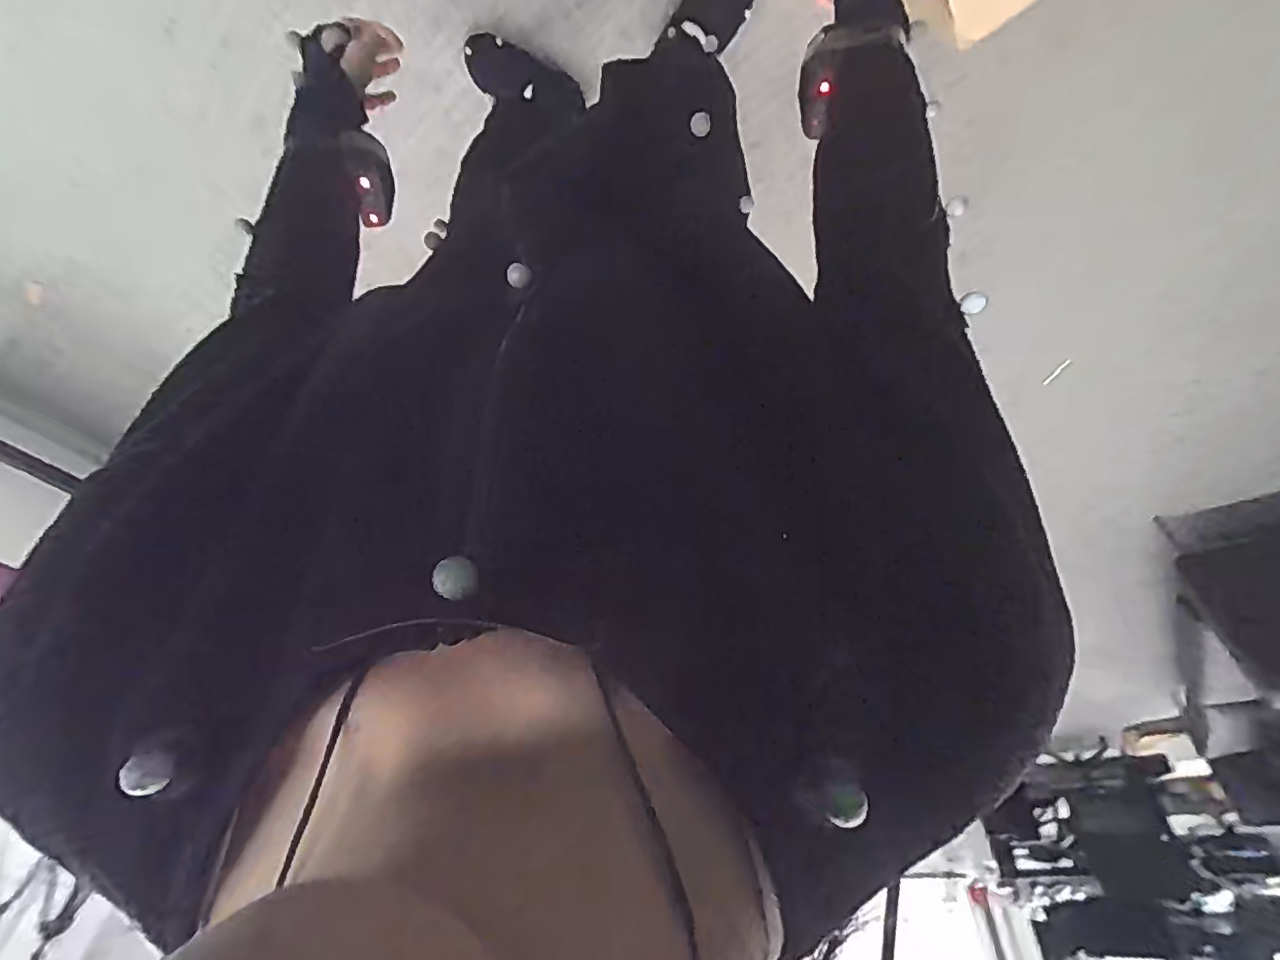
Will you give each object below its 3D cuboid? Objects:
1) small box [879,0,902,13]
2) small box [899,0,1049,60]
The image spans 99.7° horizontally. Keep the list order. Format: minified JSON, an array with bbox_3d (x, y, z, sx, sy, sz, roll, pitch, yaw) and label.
[{"bbox_3d":[0.354,-0.688,0.631,0.168,0.176,0.179,-26,131,28],"label":"small box"},{"bbox_3d":[0.349,-0.565,0.521,0.179,0.176,0.168,-26,129,28],"label":"small box"}]
